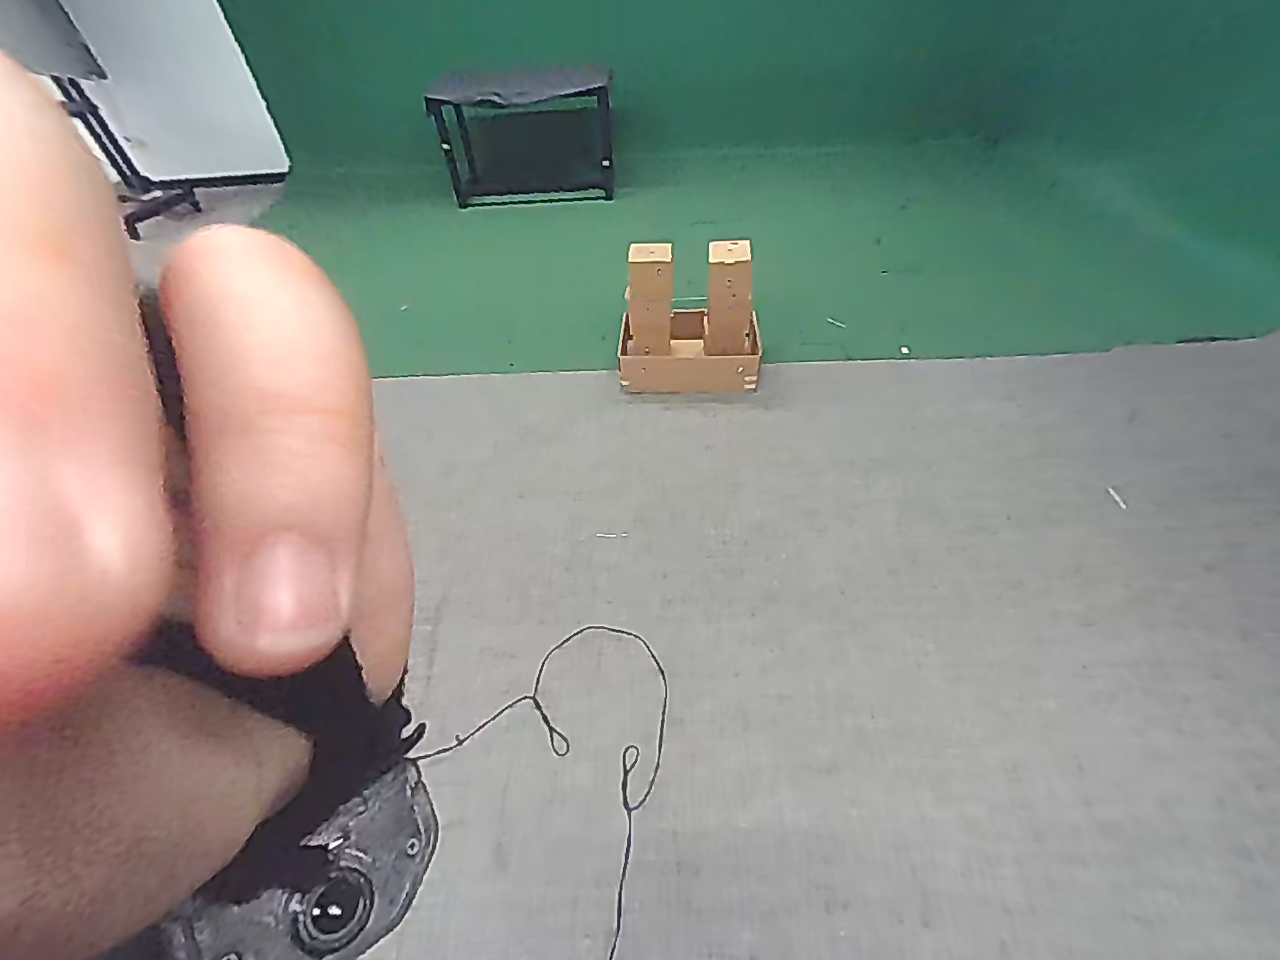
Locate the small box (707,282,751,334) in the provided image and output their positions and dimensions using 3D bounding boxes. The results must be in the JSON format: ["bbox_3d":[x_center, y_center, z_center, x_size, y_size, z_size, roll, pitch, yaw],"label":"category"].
[{"bbox_3d":[0.379,-0.744,2.330,0.179,0.176,0.168,-2,49,4],"label":"small box"}]

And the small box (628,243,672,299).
[{"bbox_3d":[0.045,-0.865,2.241,0.179,0.176,0.168,0,47,4],"label":"small box"}]

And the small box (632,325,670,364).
[{"bbox_3d":[0.056,-0.650,2.492,0.168,0.176,0.179,0,48,3],"label":"small box"}]

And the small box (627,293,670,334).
[{"bbox_3d":[0.042,-0.754,2.365,0.179,0.176,0.168,1,48,3],"label":"small box"}]

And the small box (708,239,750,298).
[{"bbox_3d":[0.363,-0.861,2.216,0.168,0.176,0.179,1,50,8],"label":"small box"}]
